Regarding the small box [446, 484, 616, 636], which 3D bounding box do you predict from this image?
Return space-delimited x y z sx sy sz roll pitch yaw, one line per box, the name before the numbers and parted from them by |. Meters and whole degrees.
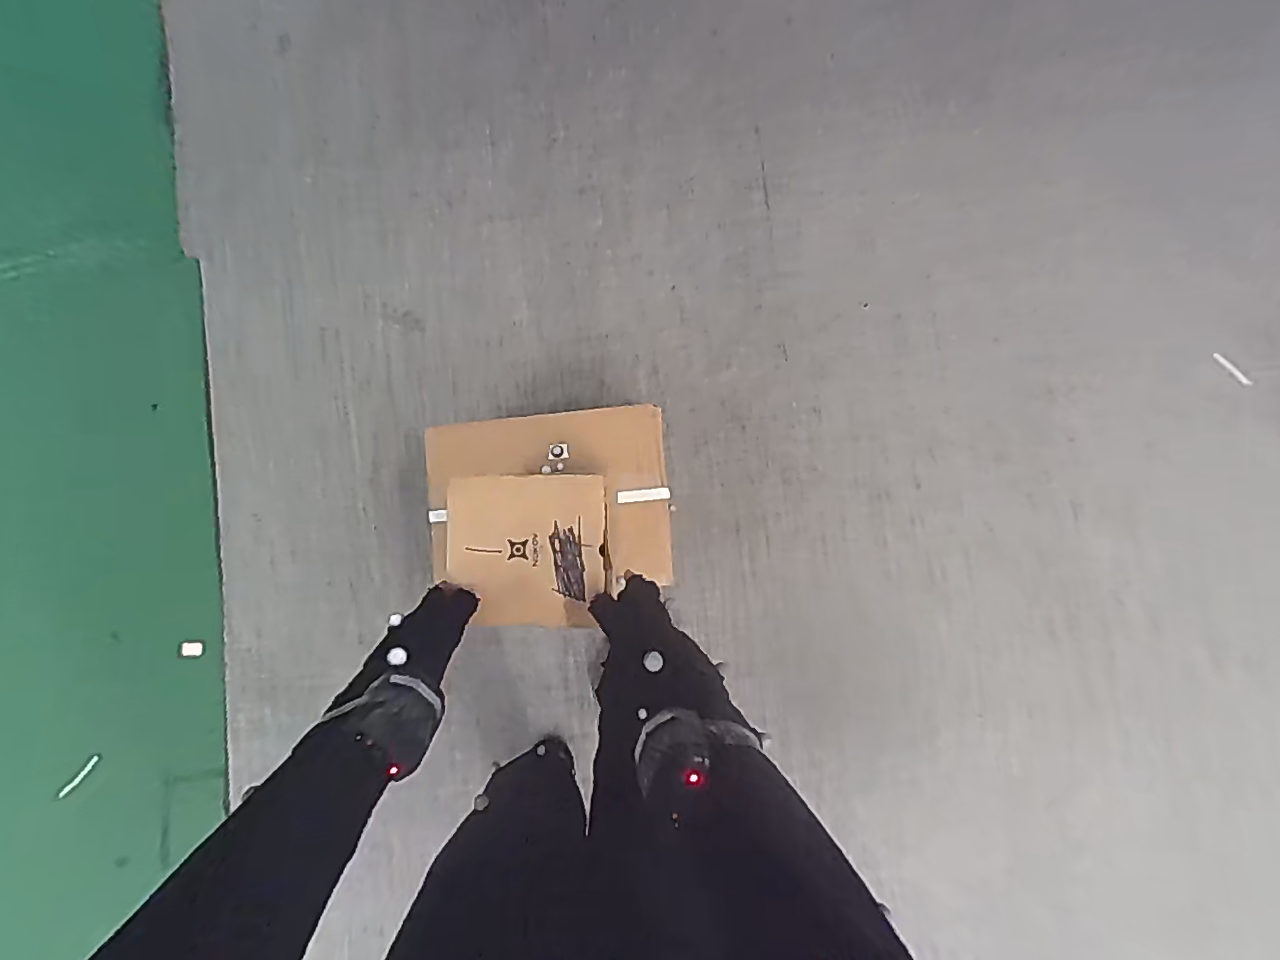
small box | -0.120 0.087 0.662 0.179 0.176 0.168 -1 88 2
